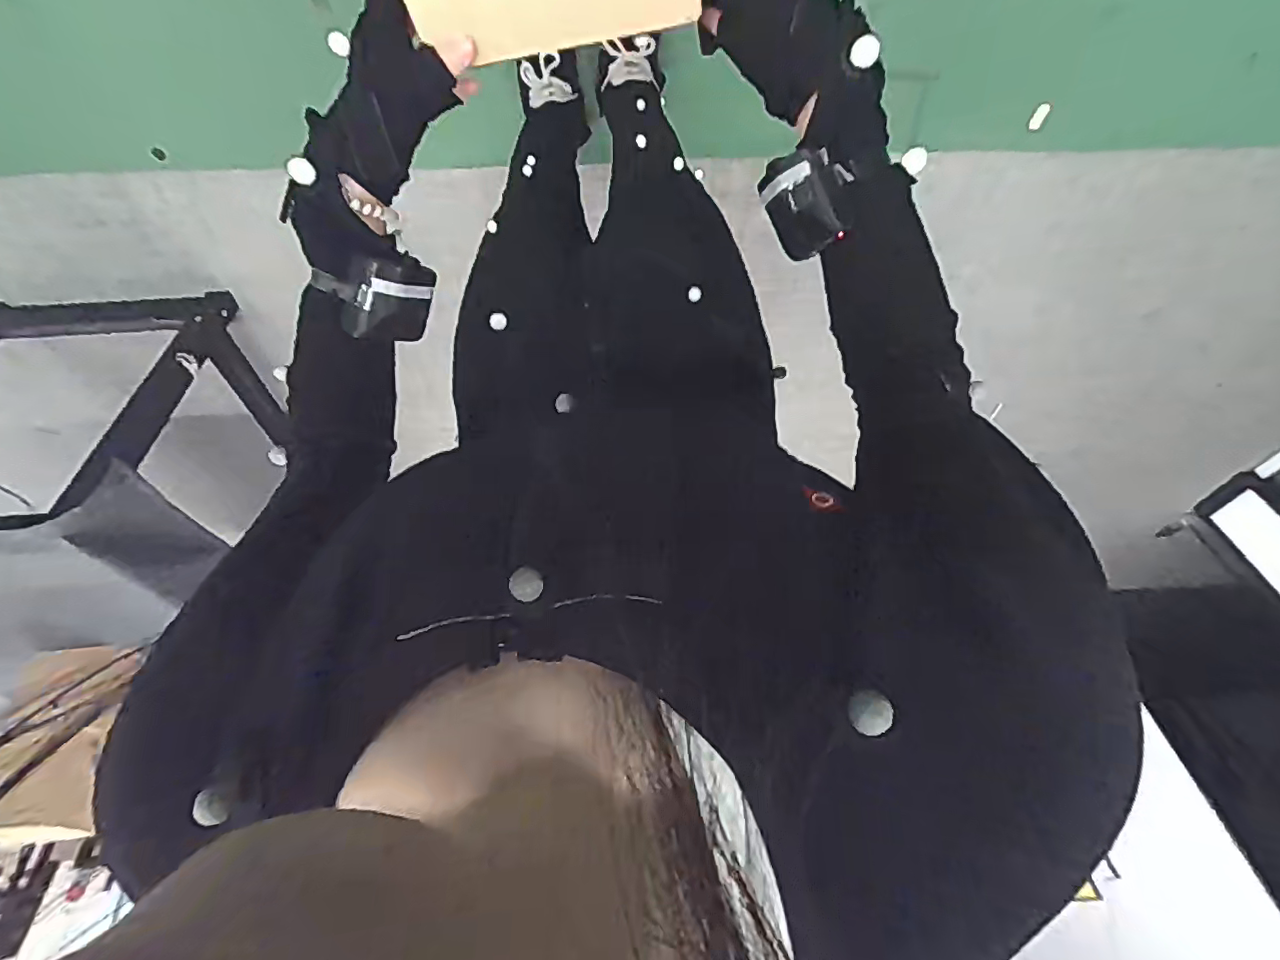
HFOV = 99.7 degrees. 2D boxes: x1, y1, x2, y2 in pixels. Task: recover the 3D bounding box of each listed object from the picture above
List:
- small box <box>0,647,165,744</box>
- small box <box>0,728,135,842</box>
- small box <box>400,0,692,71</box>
[{"bbox_3d":[-1.193,0.473,1.177,0.179,0.176,0.168,-4,141,-2],"label":"small box"},{"bbox_3d":[-1.192,0.610,1.085,0.179,0.176,0.168,-6,142,-2],"label":"small box"},{"bbox_3d":[-0.065,-0.383,0.320,0.179,0.176,0.168,-6,145,8],"label":"small box"}]
